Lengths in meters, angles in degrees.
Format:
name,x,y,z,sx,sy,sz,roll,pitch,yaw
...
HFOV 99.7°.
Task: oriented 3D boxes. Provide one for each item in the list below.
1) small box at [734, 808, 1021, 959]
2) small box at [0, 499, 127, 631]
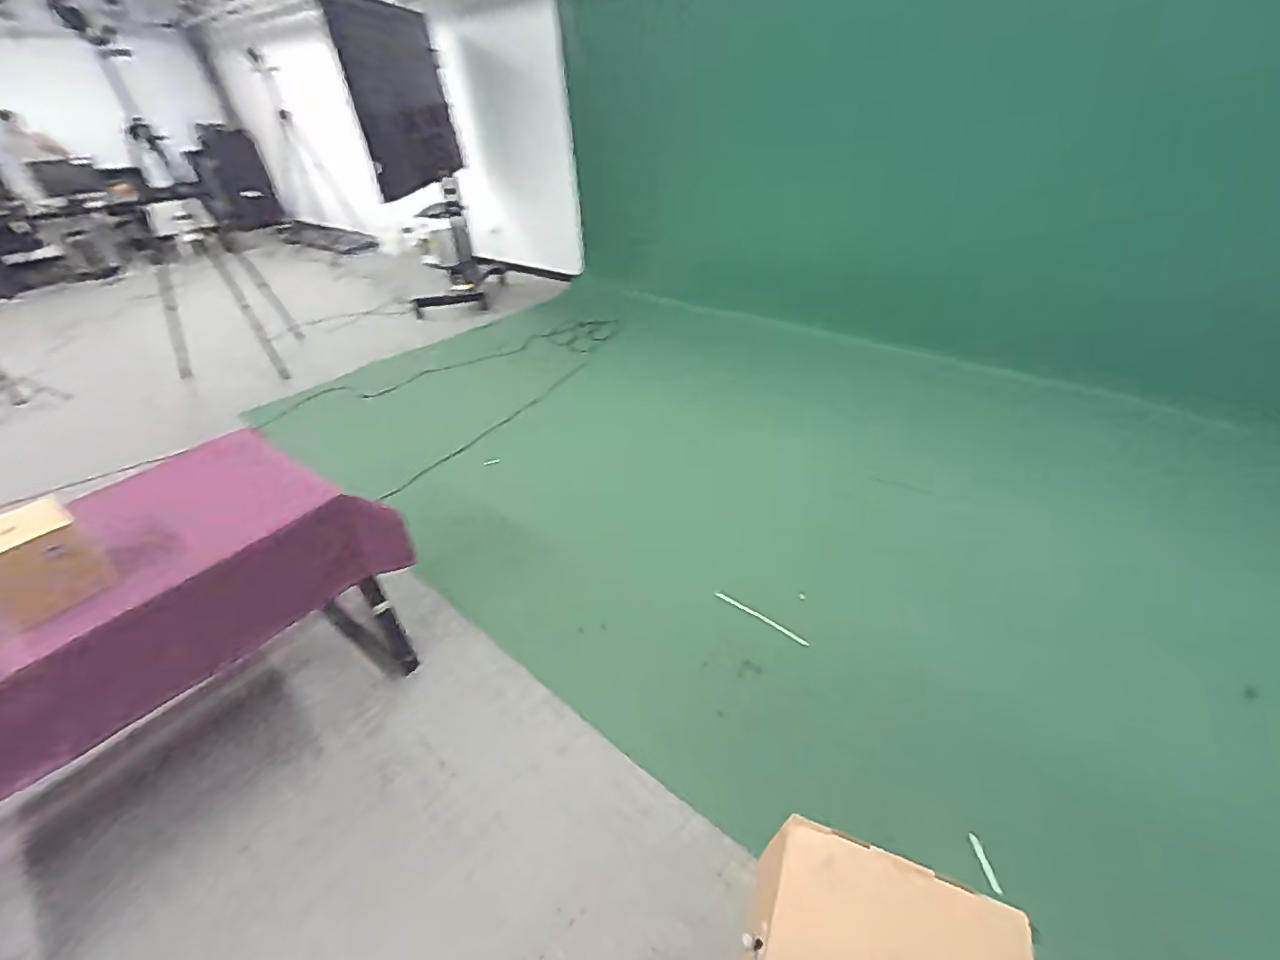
name,x,y,z,sx,sy,sz,roll,pitch,yaw
small box,0.157,0.391,0.402,0.168,0.176,0.179,15,47,16
small box,-1.224,0.173,1.124,0.168,0.176,0.179,21,44,32
